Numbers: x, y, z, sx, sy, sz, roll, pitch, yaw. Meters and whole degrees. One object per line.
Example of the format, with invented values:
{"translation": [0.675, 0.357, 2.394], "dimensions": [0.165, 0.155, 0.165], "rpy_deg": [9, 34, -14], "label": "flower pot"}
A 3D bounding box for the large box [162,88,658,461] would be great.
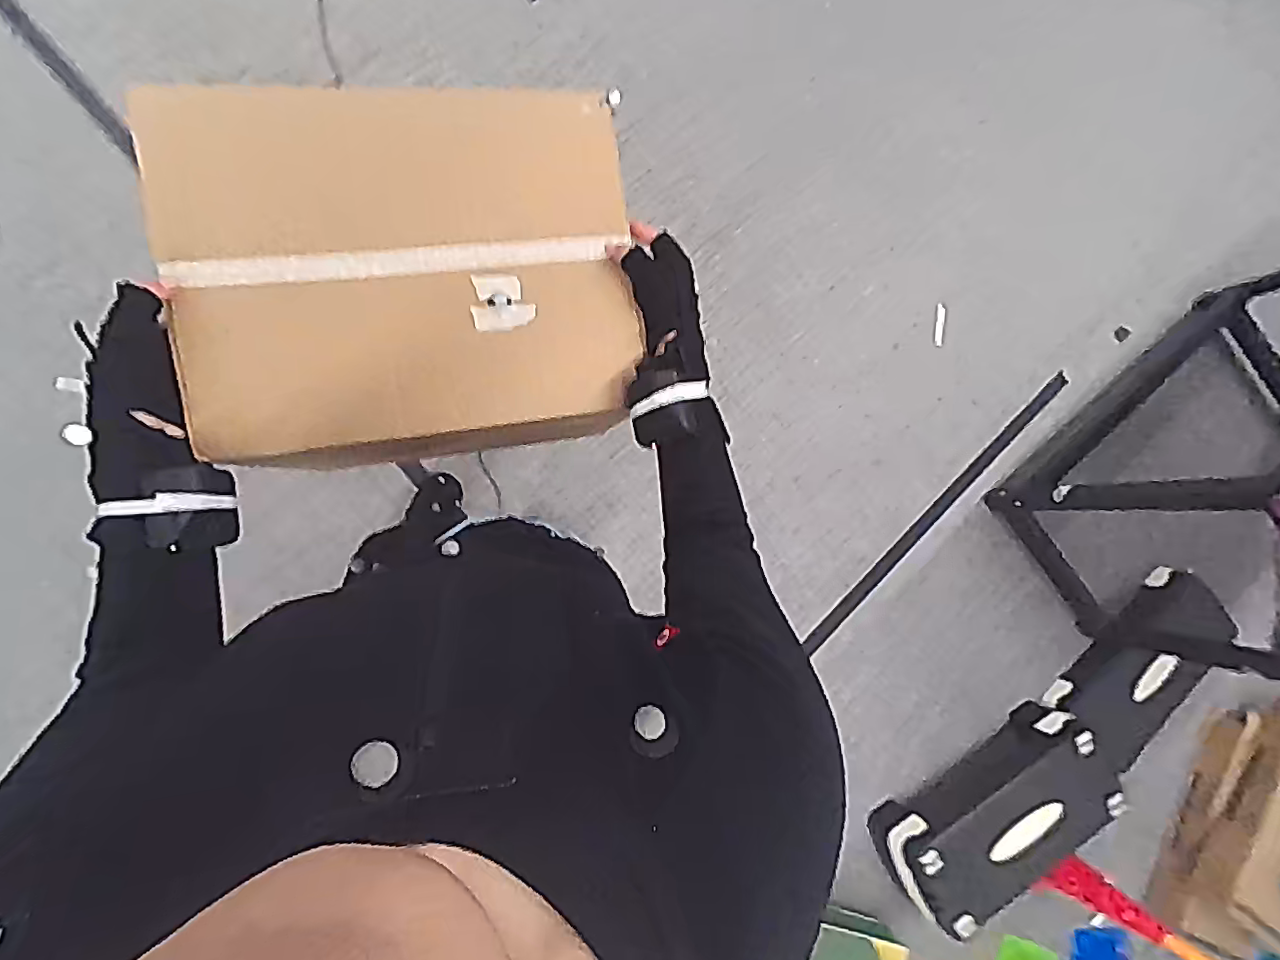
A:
{"translation": [-0.230, -0.209, 0.651], "dimensions": [0.408, 0.320, 0.320], "rpy_deg": [-9, 92, -14], "label": "large box"}
